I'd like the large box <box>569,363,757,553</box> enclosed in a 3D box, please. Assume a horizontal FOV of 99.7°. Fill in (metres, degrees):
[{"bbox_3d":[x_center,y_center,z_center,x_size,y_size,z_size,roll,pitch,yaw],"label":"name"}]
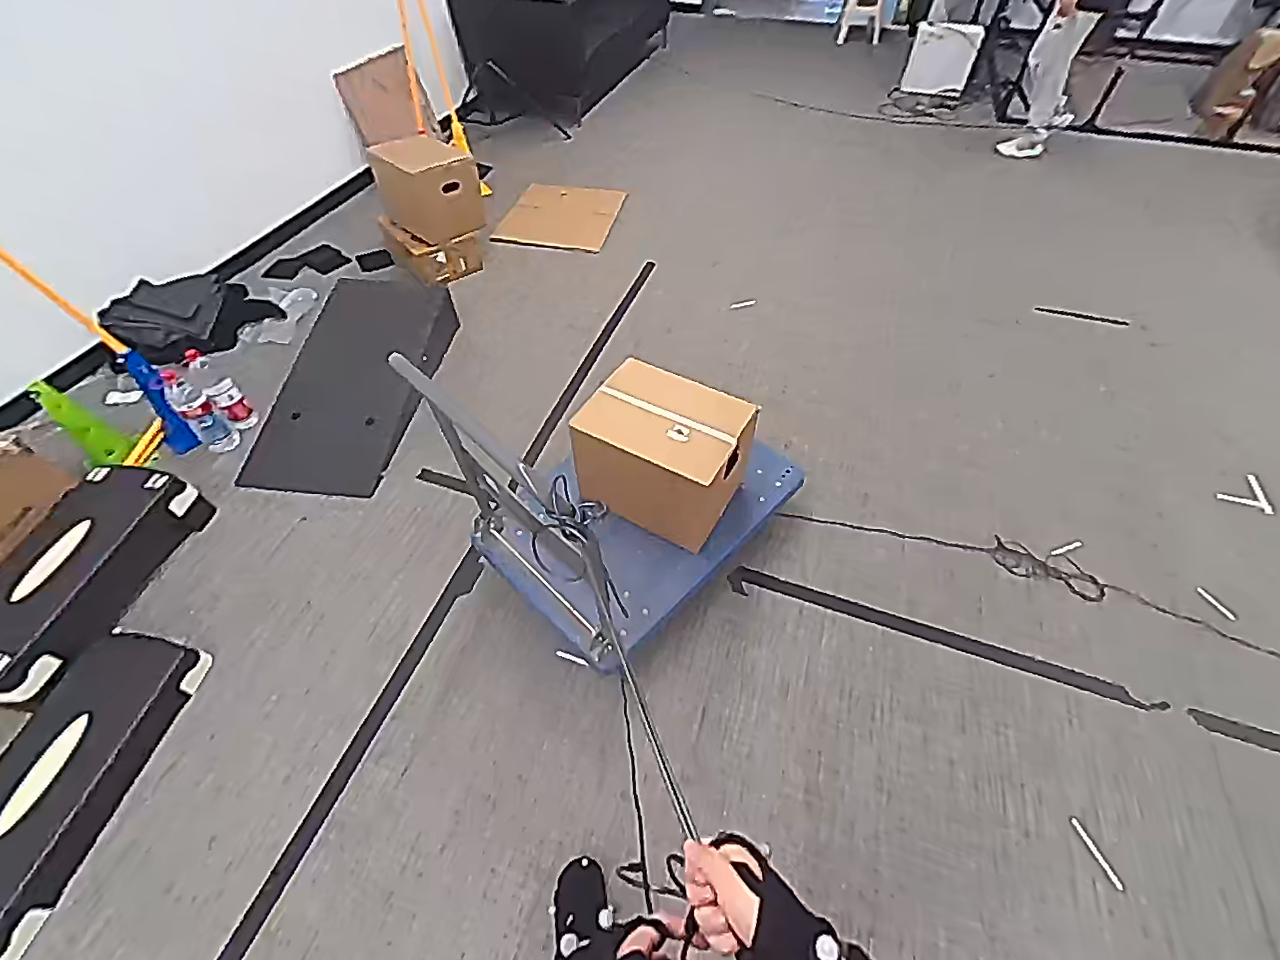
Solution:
[{"bbox_3d":[0.059,-0.064,1.514,0.408,0.320,0.320,25,56,18],"label":"large box"}]
